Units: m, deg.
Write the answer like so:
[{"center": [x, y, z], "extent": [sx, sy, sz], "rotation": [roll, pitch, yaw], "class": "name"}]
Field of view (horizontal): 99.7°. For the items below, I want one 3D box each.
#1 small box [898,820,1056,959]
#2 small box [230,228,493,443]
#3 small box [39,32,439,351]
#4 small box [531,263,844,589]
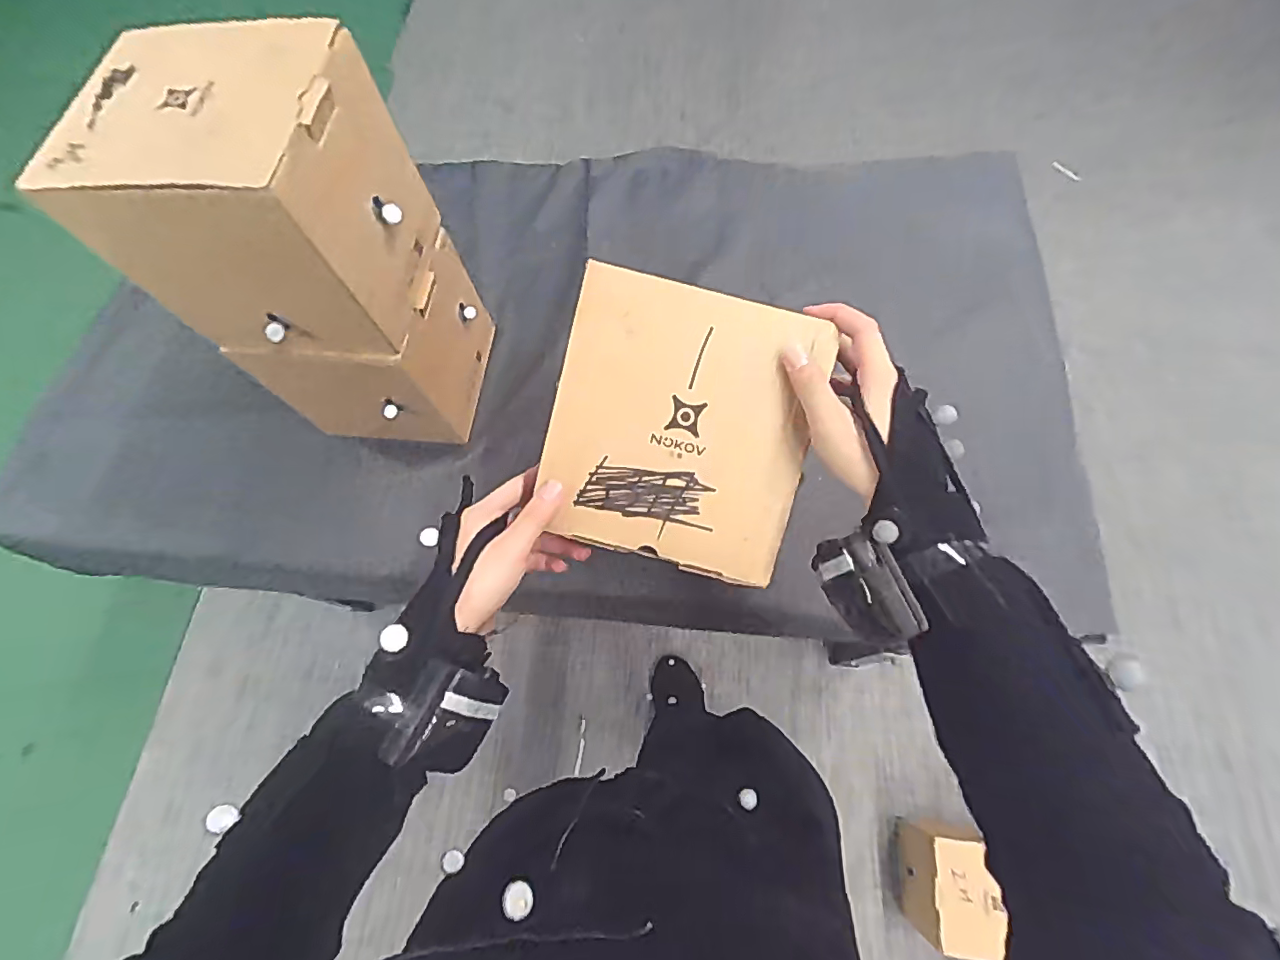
[{"center": [0.581, 0.718, 0.955], "extent": [0.179, 0.176, 0.168], "rotation": [4, 67, 6], "class": "small box"}, {"center": [-0.279, -0.151, 0.591], "extent": [0.179, 0.176, 0.168], "rotation": [3, 66, 6], "class": "small box"}, {"center": [-0.290, -0.222, 0.444], "extent": [0.179, 0.176, 0.168], "rotation": [3, 67, 5], "class": "small box"}, {"center": [0.030, -0.041, 0.423], "extent": [0.168, 0.176, 0.179], "rotation": [15, 97, -1], "class": "small box"}]
